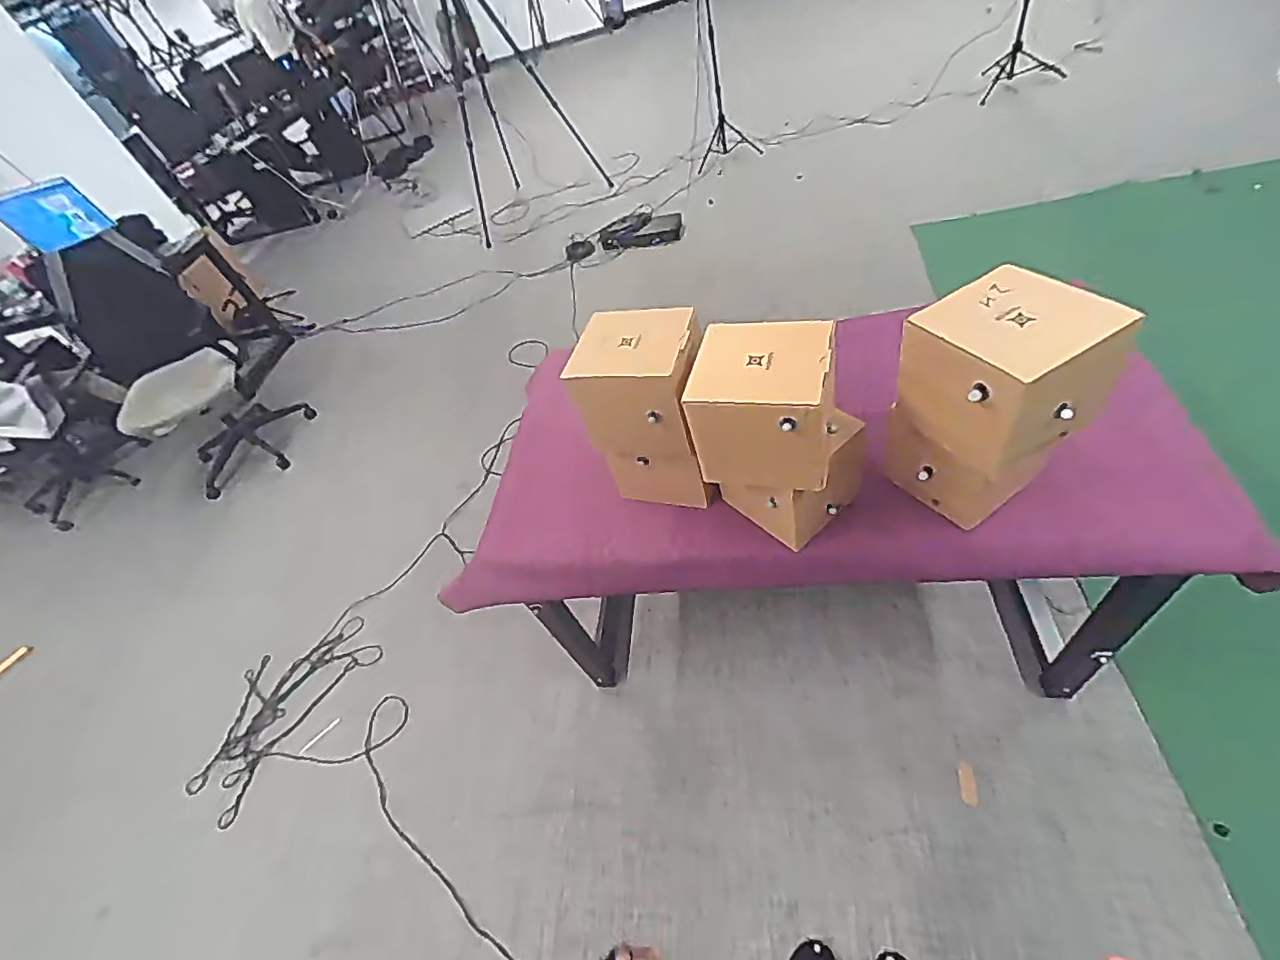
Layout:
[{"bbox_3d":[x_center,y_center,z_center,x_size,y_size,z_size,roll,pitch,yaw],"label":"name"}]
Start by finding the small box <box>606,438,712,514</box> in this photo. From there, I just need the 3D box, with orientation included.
[{"bbox_3d":[0.045,-0.059,1.003,0.179,0.176,0.168,13,54,20],"label":"small box"}]

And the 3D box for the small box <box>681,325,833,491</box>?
[{"bbox_3d":[0.175,-0.099,0.769,0.179,0.176,0.168,5,52,22],"label":"small box"}]

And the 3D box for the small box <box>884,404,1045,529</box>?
[{"bbox_3d":[0.506,-0.057,0.843,0.179,0.176,0.168,-34,48,-11],"label":"small box"}]

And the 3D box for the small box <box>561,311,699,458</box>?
[{"bbox_3d":[0.004,-0.150,0.869,0.179,0.176,0.168,3,51,21],"label":"small box"}]

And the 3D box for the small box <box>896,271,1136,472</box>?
[{"bbox_3d":[0.461,-0.132,0.698,0.168,0.176,0.179,-28,46,-7],"label":"small box"}]
